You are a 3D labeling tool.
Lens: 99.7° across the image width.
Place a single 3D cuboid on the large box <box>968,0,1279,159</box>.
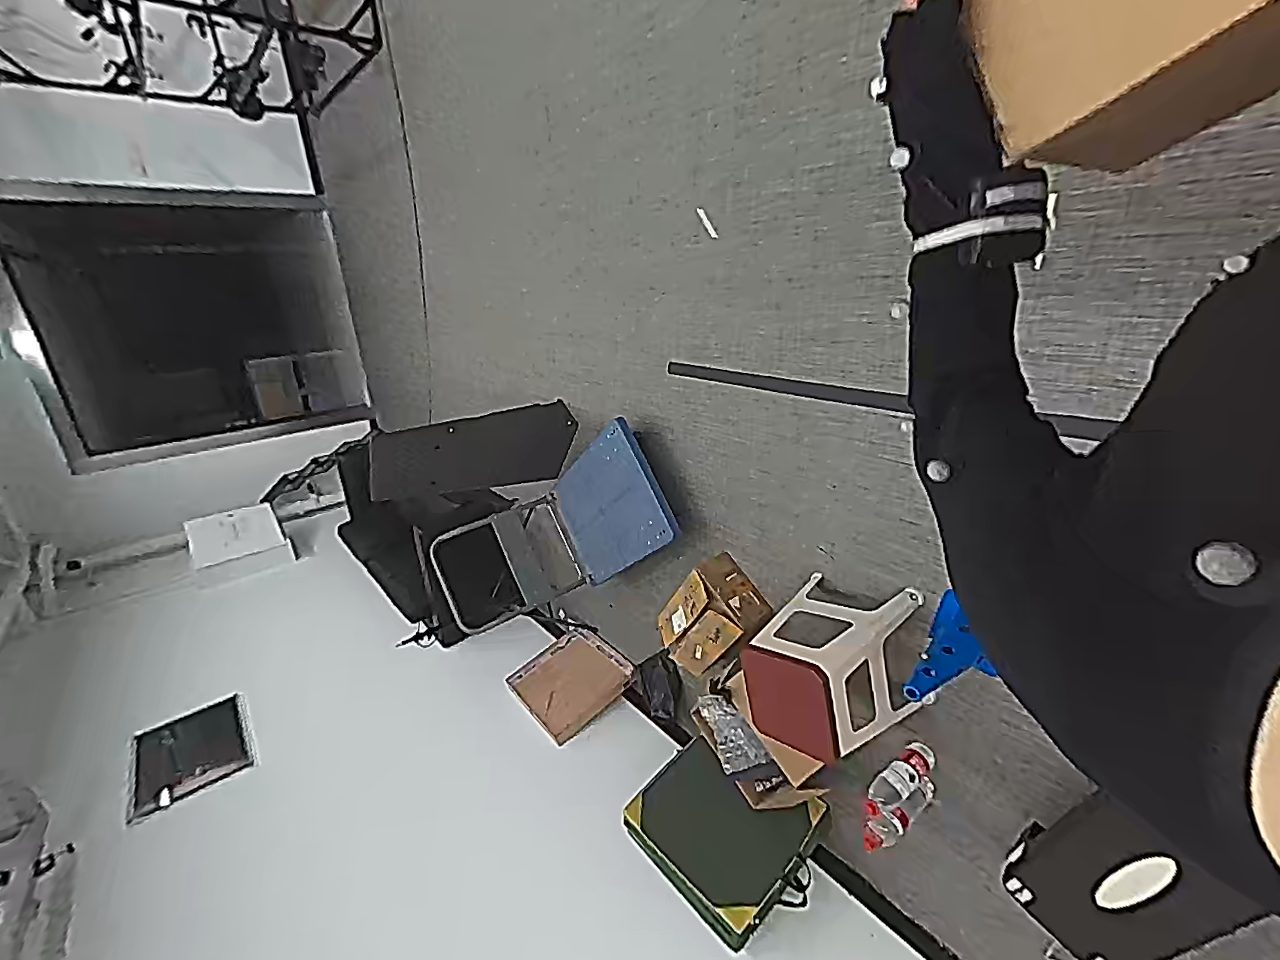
[{"bbox_3d":[0.454,-0.483,0.335,0.408,0.320,0.320,-19,91,55],"label":"large box"}]
